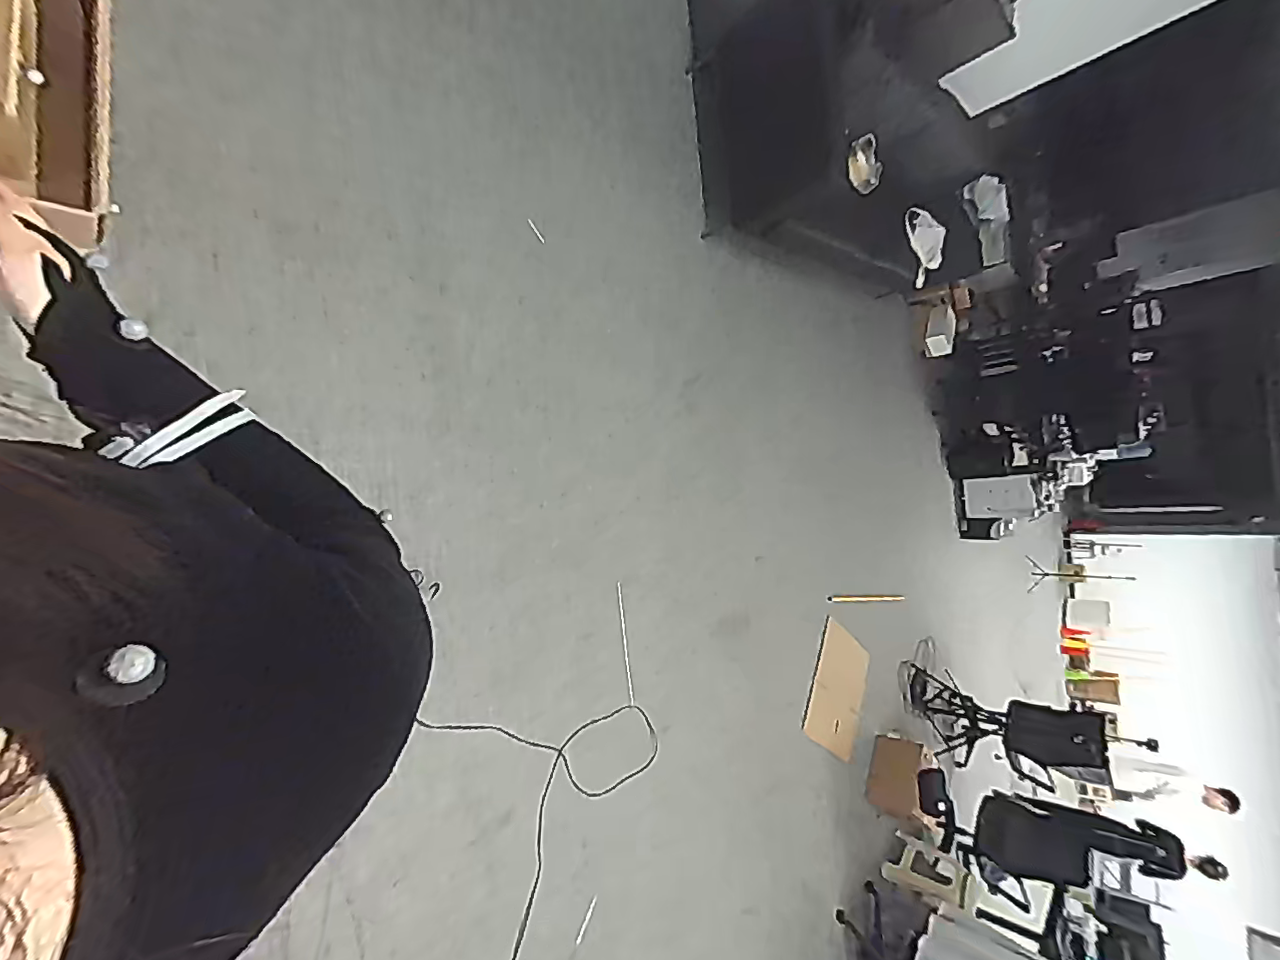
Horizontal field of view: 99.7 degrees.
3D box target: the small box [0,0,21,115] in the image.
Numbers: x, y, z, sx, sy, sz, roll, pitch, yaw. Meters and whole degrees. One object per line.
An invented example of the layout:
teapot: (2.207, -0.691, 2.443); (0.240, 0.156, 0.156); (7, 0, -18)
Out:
small box: (-0.718, -0.501, 0.506); (0.168, 0.176, 0.179); (3, 86, -43)
